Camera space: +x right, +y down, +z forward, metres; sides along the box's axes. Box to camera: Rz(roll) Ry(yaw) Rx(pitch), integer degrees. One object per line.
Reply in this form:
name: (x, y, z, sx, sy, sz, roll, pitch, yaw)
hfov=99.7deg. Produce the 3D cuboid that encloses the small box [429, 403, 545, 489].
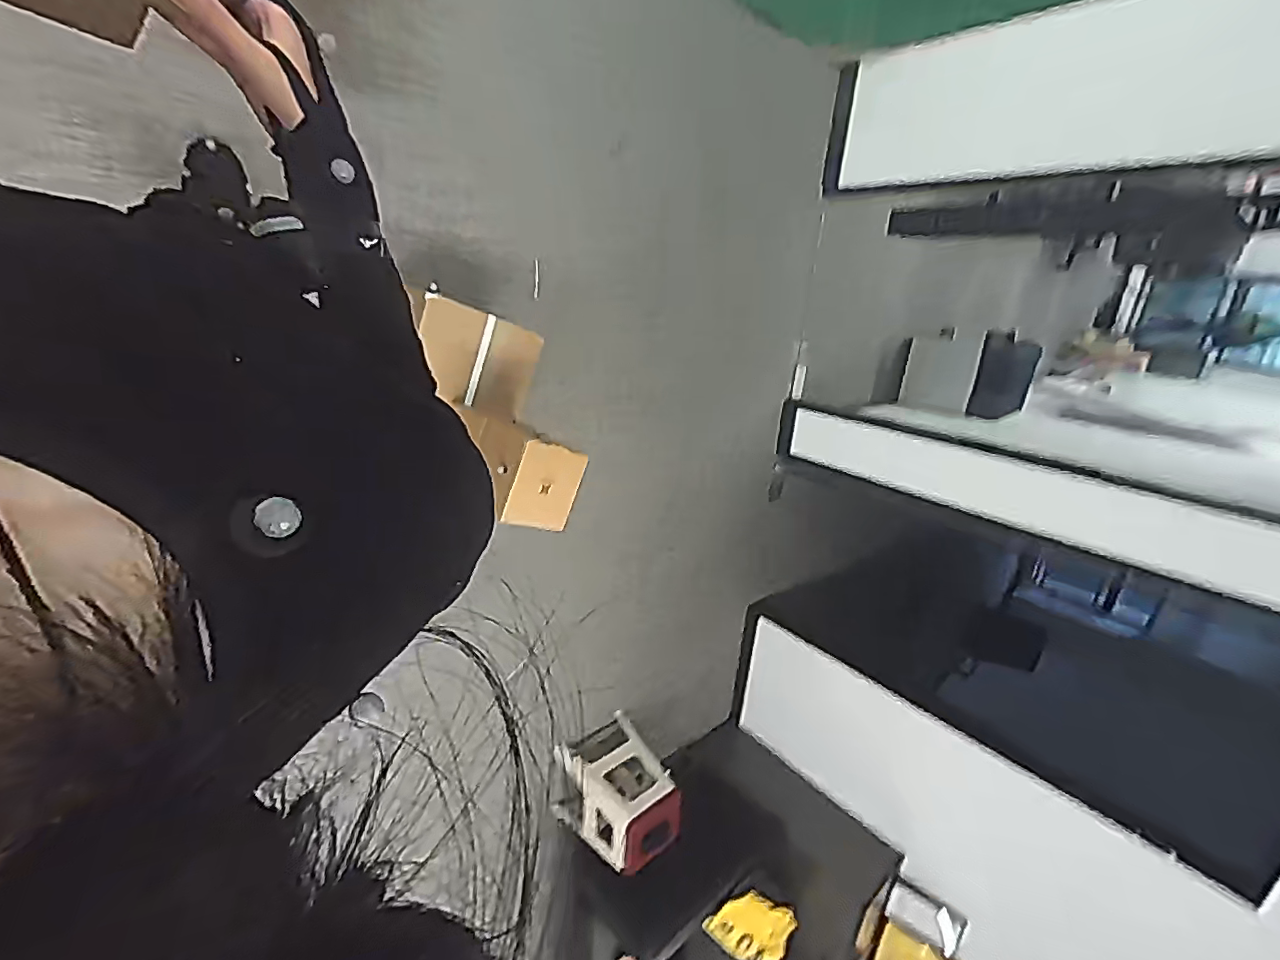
small box: (-0.361, -0.070, 1.267, 0.179, 0.176, 0.168, 14, 98, -47)

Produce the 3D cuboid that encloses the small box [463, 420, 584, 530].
small box: (-0.255, -0.011, 1.159, 0.168, 0.176, 0.179, 16, 96, -48)
